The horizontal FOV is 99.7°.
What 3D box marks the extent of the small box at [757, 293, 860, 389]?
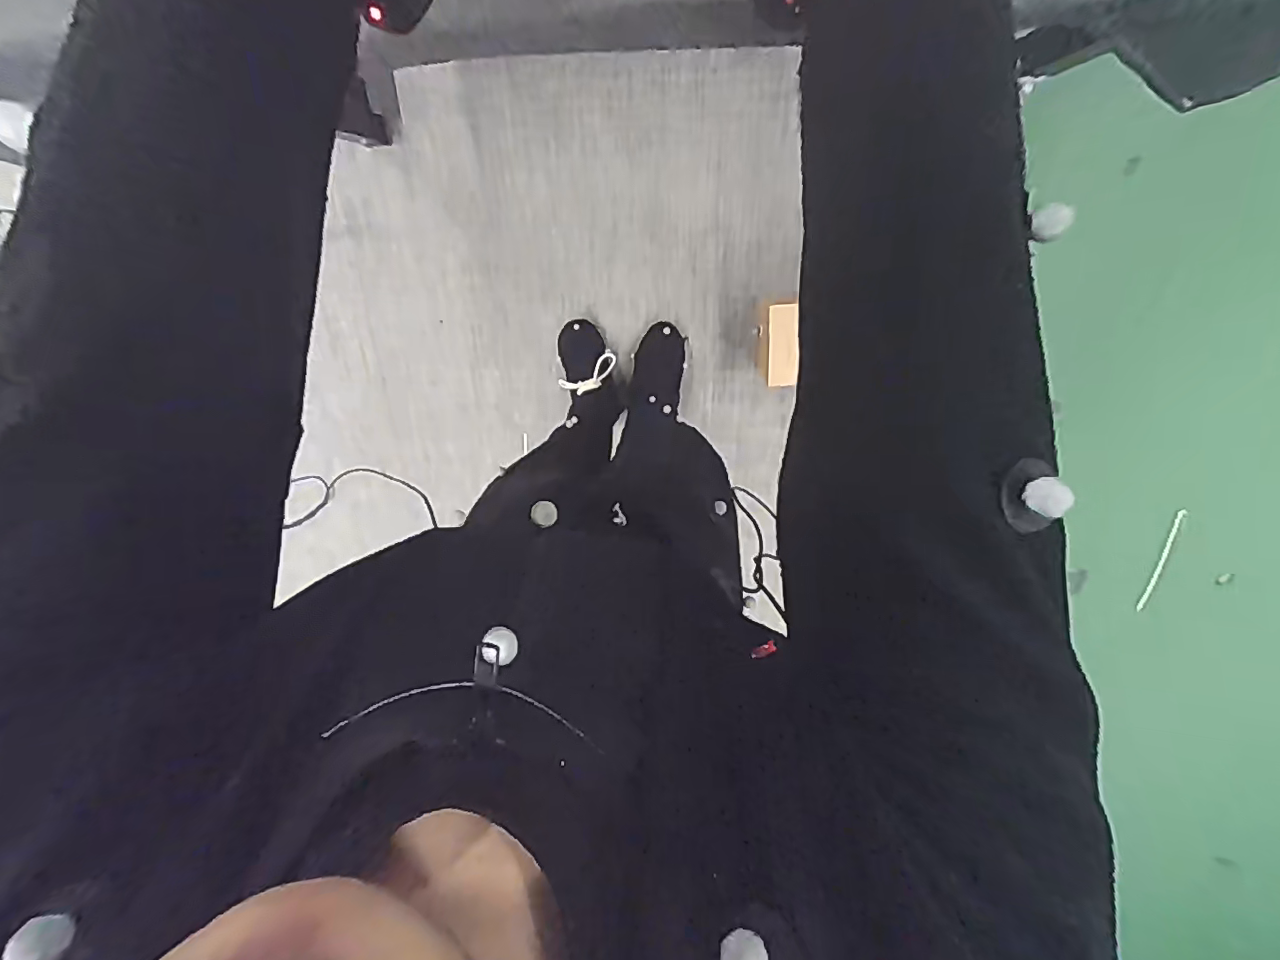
[{"bbox_3d":[0.350,-0.300,1.151,0.179,0.176,0.168,-4,113,6],"label":"small box"}]
